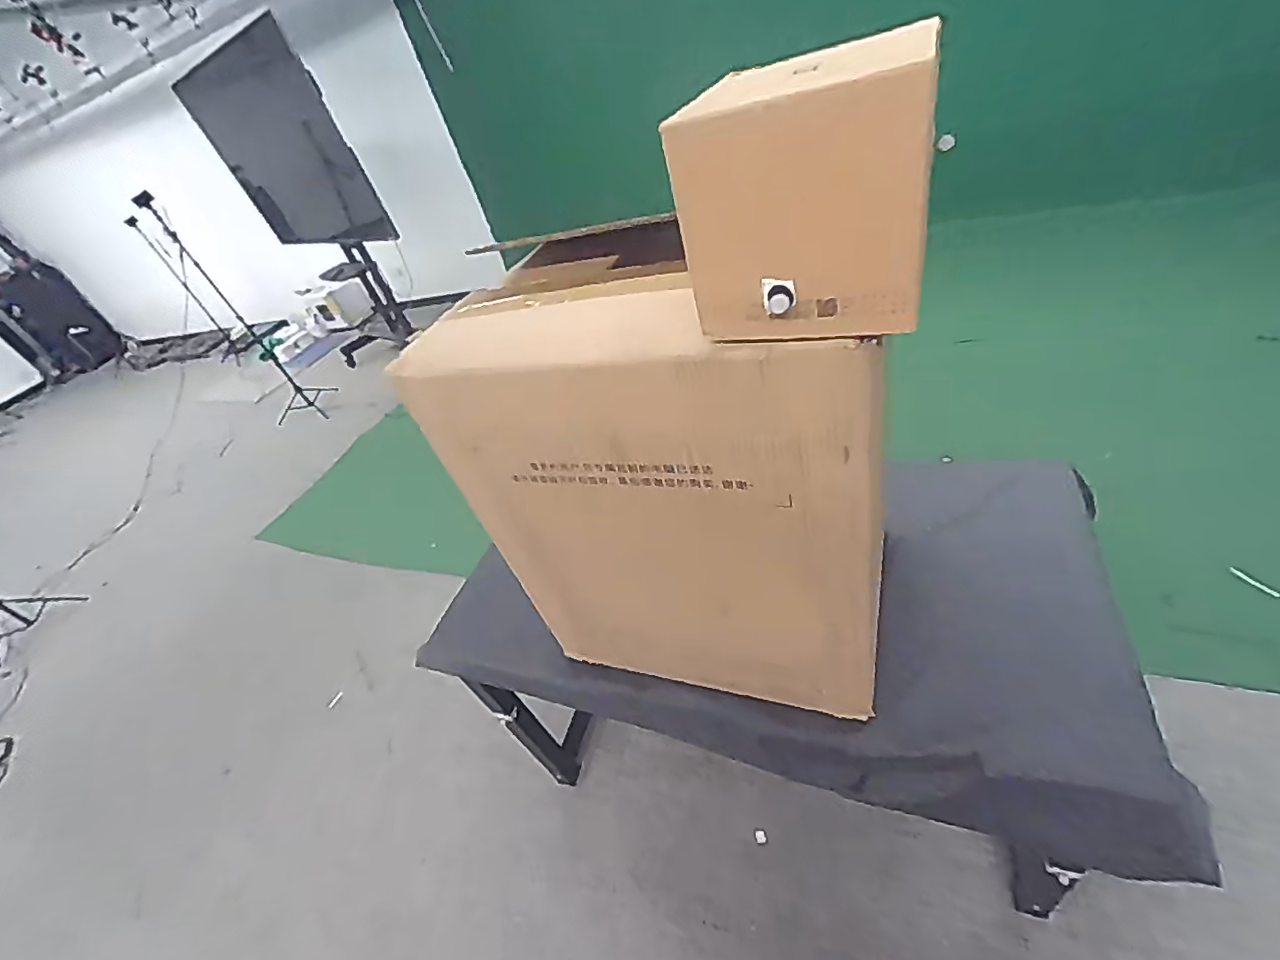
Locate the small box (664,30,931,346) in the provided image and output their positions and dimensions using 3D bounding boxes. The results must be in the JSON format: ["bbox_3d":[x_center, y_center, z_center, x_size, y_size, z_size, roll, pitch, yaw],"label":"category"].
[{"bbox_3d":[0.137,-0.227,0.439,0.168,0.176,0.179,2,44,26],"label":"small box"}]
